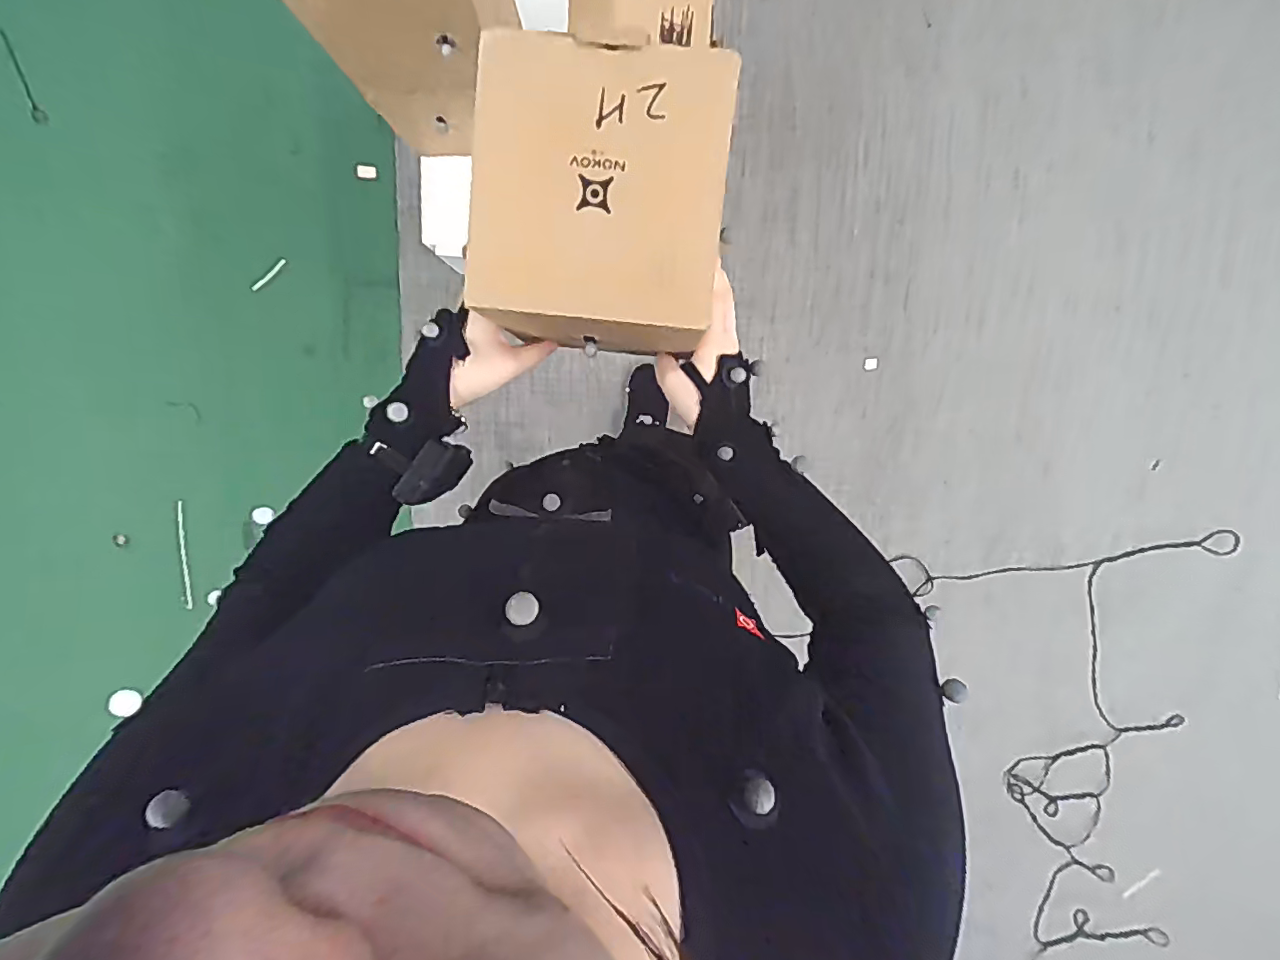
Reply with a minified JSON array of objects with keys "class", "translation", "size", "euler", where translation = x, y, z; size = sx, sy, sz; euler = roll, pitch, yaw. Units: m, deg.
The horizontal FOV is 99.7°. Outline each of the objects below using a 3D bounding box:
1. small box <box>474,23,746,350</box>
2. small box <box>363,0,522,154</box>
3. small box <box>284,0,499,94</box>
[{"class":"small box","translation":[-0.021,-0.206,0.432],"size":[0.168,0.176,0.179],"euler":[6,96,0]},{"class":"small box","translation":[-0.250,-0.558,0.722],"size":[0.179,0.176,0.168],"euler":[-2,99,0]},{"class":"small box","translation":[-0.248,-0.535,0.560],"size":[0.179,0.176,0.168],"euler":[-3,98,0]}]
